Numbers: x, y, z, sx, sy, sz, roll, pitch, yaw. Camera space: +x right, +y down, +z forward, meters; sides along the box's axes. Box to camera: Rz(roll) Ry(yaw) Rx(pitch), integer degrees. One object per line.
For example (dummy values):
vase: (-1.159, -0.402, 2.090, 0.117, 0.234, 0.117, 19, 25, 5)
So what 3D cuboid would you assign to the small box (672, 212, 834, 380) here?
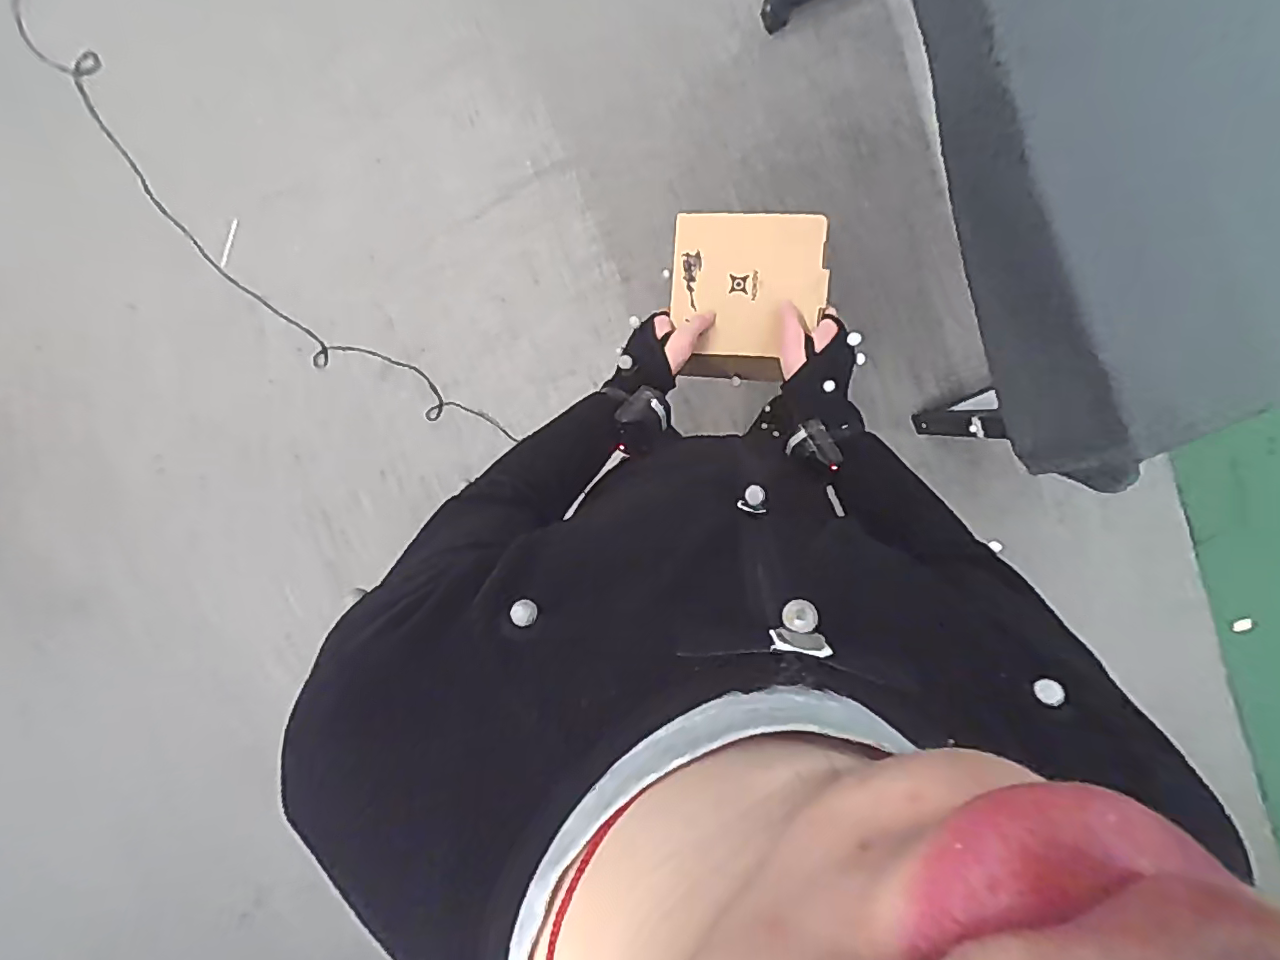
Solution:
small box: (0.136, -0.226, 0.704, 0.179, 0.176, 0.168, 4, 92, 5)

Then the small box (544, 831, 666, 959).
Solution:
small box: (-0.054, 0.788, 0.984, 0.179, 0.176, 0.168, -19, 97, 3)
